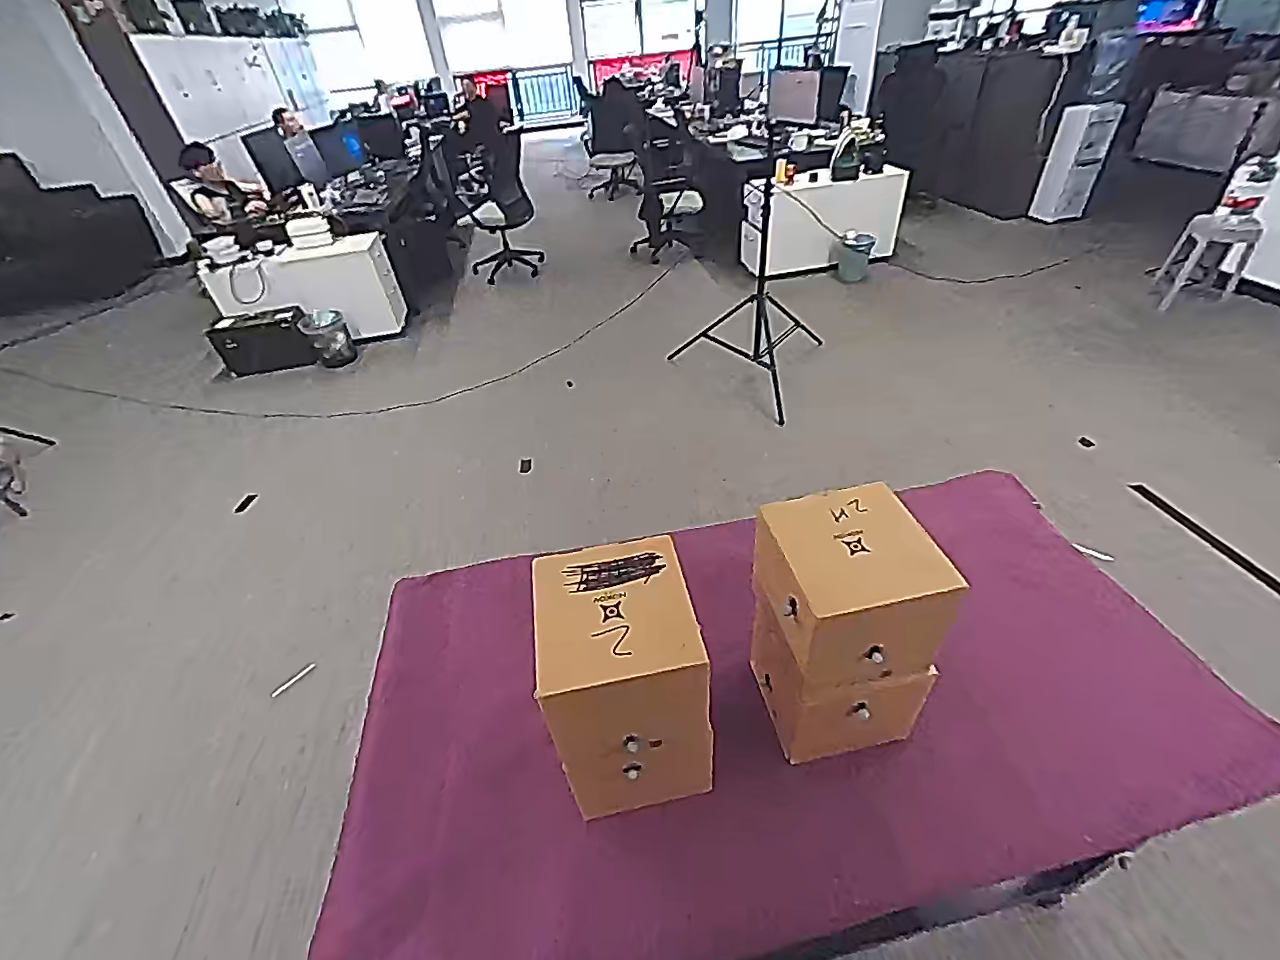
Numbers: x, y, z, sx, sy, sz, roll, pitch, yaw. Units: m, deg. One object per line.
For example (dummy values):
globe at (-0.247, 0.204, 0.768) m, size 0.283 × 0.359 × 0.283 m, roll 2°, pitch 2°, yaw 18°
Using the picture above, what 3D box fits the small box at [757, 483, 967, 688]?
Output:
small box at (0.250, 0.133, 0.660) m, size 0.168 × 0.176 × 0.179 m, roll -10°, pitch 39°, yaw -4°

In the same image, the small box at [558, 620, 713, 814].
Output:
small box at (-0.005, 0.319, 0.727) m, size 0.179 × 0.176 × 0.168 m, roll -10°, pitch 40°, yaw -5°

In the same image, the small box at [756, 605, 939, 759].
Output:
small box at (0.273, 0.262, 0.760) m, size 0.179 × 0.176 × 0.168 m, roll -11°, pitch 40°, yaw -4°
